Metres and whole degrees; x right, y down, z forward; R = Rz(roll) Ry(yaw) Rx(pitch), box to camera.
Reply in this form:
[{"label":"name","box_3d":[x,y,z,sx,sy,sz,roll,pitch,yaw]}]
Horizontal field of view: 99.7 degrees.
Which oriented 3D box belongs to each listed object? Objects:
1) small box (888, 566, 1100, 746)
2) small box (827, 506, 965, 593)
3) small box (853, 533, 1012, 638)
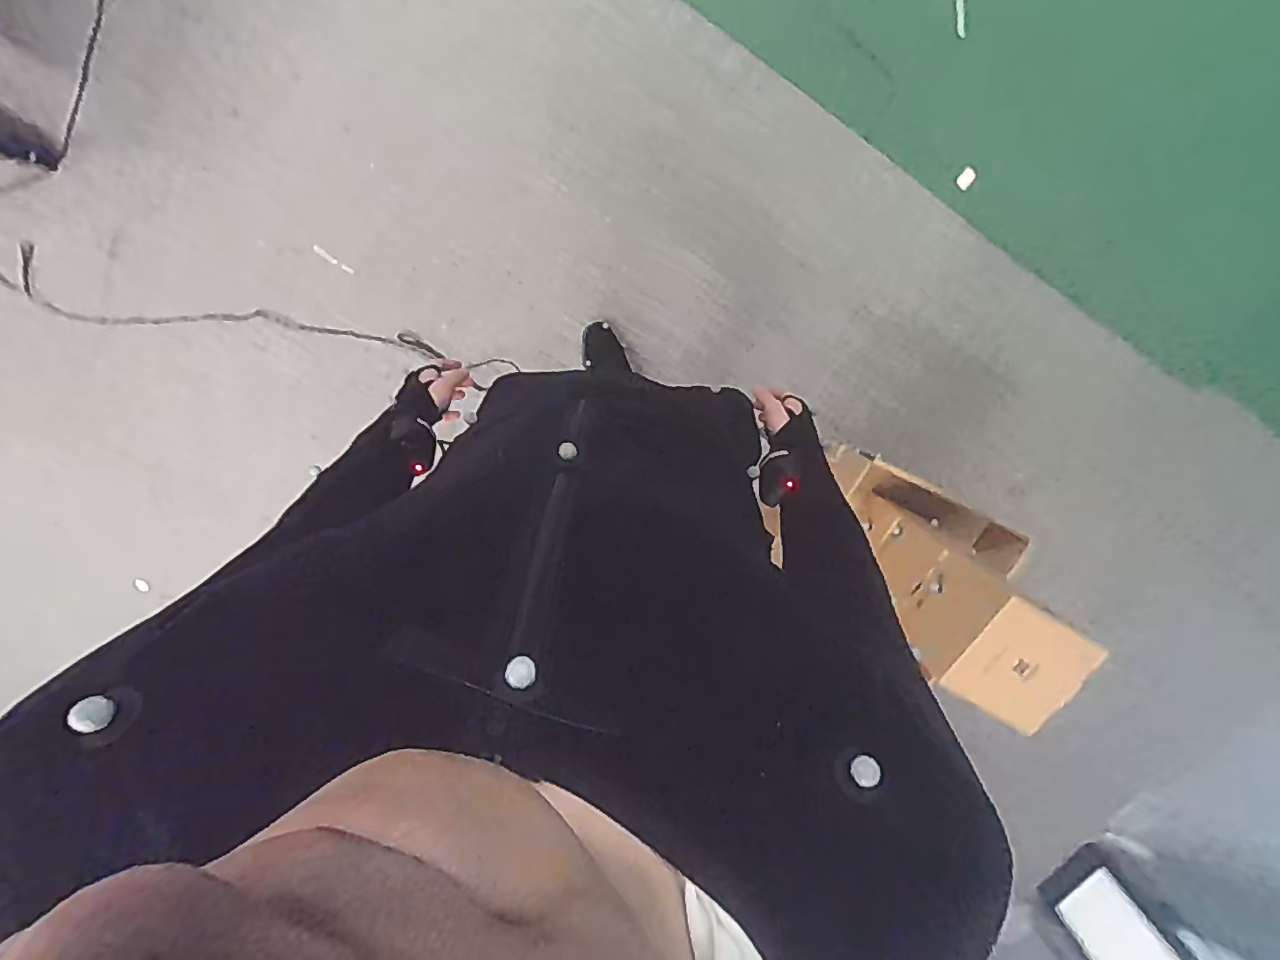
[{"label":"small box","box_3d":[0.532,0.261,0.840,0.179,0.176,0.168,31,103,-7]},{"label":"small box","box_3d":[0.532,0.171,1.154,0.179,0.176,0.168,26,104,-7]},{"label":"small box","box_3d":[0.529,0.218,0.997,0.179,0.176,0.168,29,104,-8]}]
